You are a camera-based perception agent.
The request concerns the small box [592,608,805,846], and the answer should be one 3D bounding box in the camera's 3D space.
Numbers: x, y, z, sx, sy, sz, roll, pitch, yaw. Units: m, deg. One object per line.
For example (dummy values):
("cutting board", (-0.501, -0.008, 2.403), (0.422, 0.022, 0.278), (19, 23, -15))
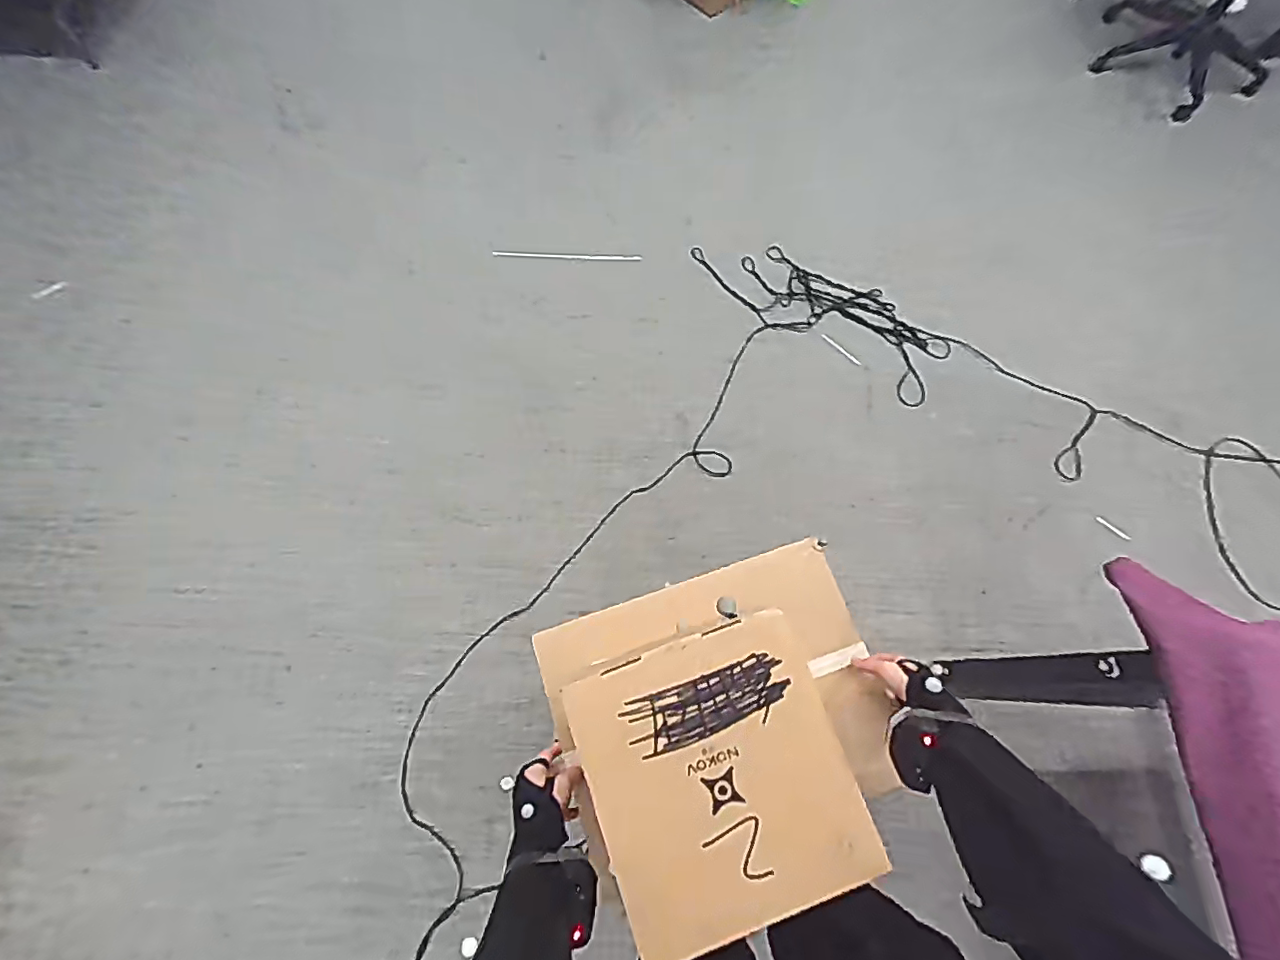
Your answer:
("small box", (0.050, 0.249, 0.584), (0.168, 0.176, 0.179), (-15, 75, -4))
